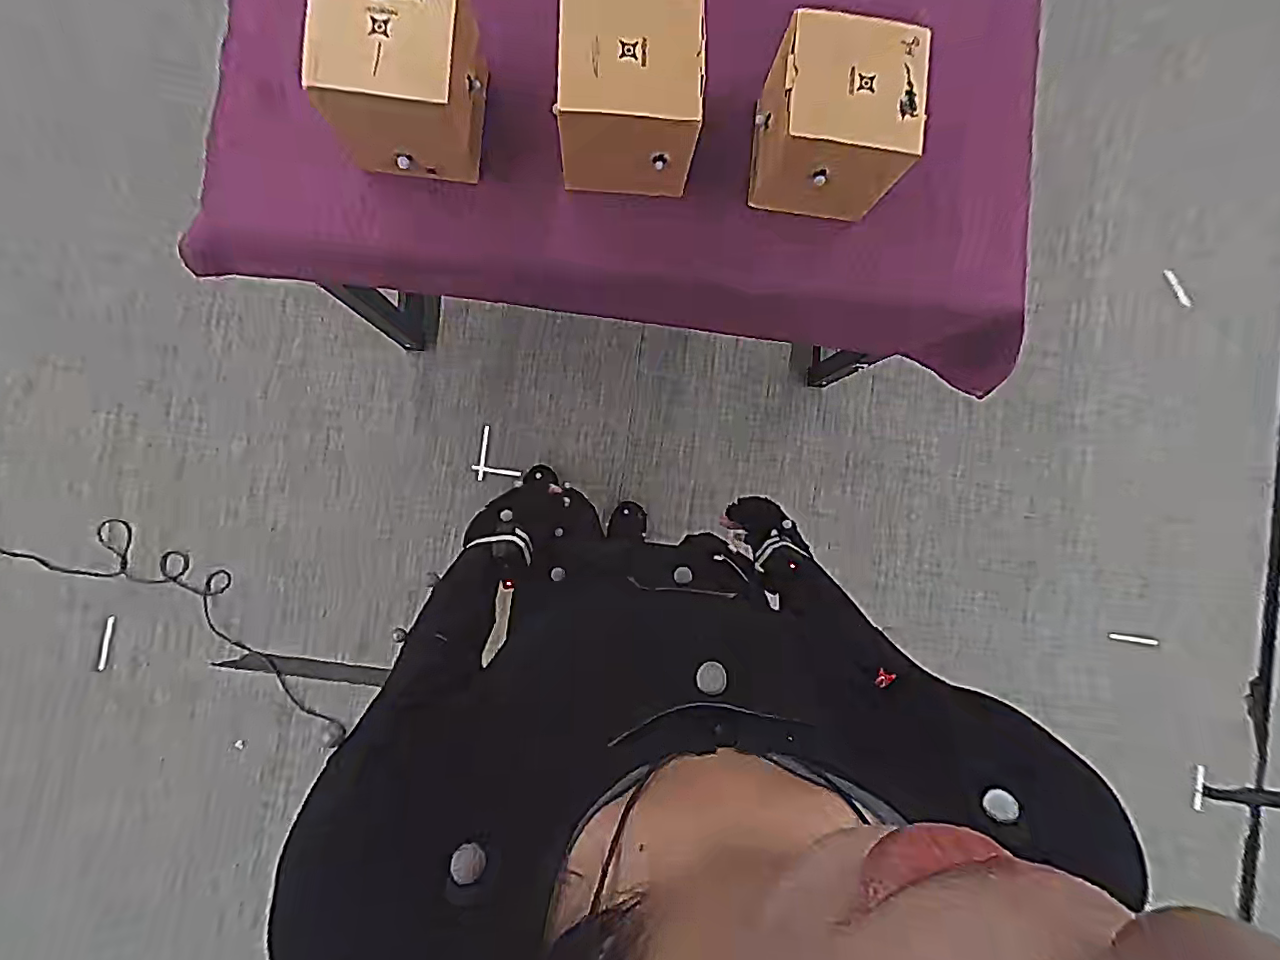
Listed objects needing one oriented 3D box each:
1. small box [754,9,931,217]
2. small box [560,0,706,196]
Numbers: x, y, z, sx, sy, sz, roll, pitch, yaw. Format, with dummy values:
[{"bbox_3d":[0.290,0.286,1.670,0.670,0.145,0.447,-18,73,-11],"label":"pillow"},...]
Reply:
[{"bbox_3d":[0.265,-0.489,0.746,0.179,0.176,0.168,5,88,-3],"label":"small box"},{"bbox_3d":[-0.013,-0.507,0.726,0.179,0.176,0.168,0,87,-4],"label":"small box"}]
